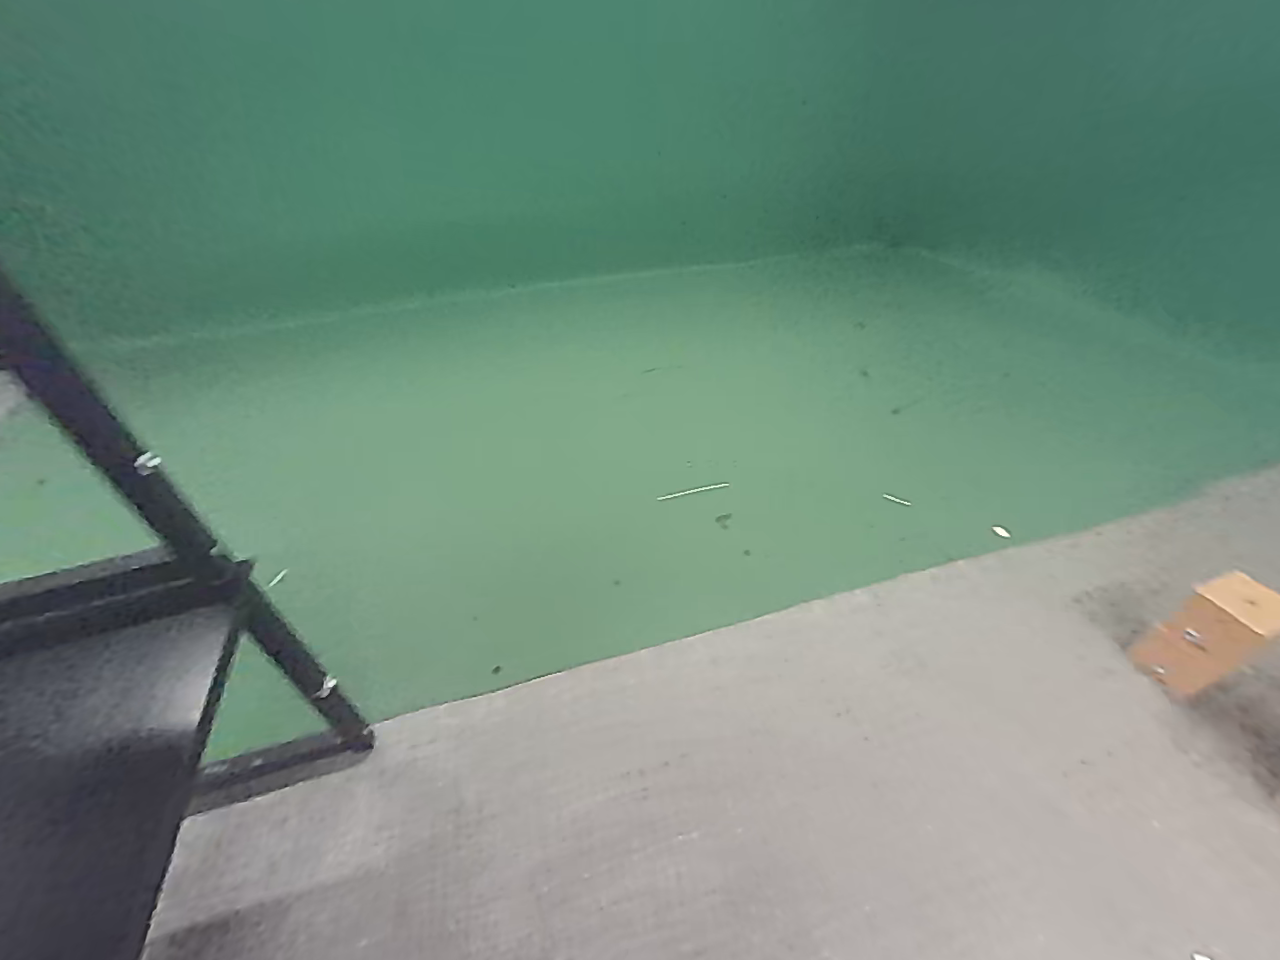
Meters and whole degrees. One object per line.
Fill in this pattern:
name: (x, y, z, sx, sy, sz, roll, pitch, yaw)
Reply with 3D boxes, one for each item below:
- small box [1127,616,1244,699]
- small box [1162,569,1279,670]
small box: (1.562, 0.493, 1.544, 0.179, 0.176, 0.168, -15, 42, -14)
small box: (1.564, 0.372, 1.436, 0.179, 0.176, 0.168, -15, 41, -14)
